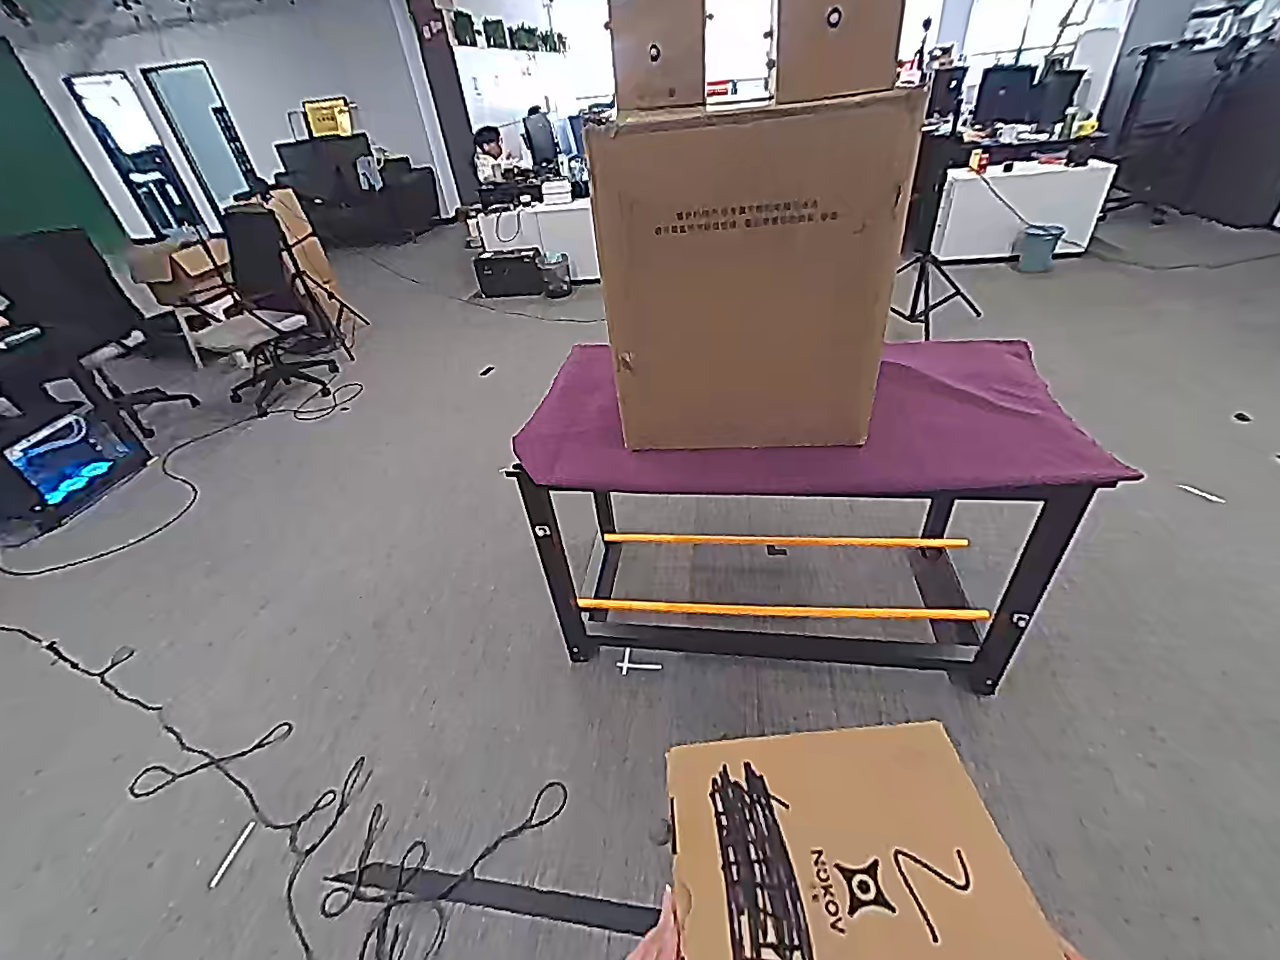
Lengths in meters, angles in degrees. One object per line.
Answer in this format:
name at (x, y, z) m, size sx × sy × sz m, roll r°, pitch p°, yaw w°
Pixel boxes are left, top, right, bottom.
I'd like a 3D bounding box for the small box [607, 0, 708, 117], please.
small box at (0.042, -0.789, 1.012) m, size 0.168 × 0.176 × 0.179 m, roll 1°, pitch 38°, yaw 8°
